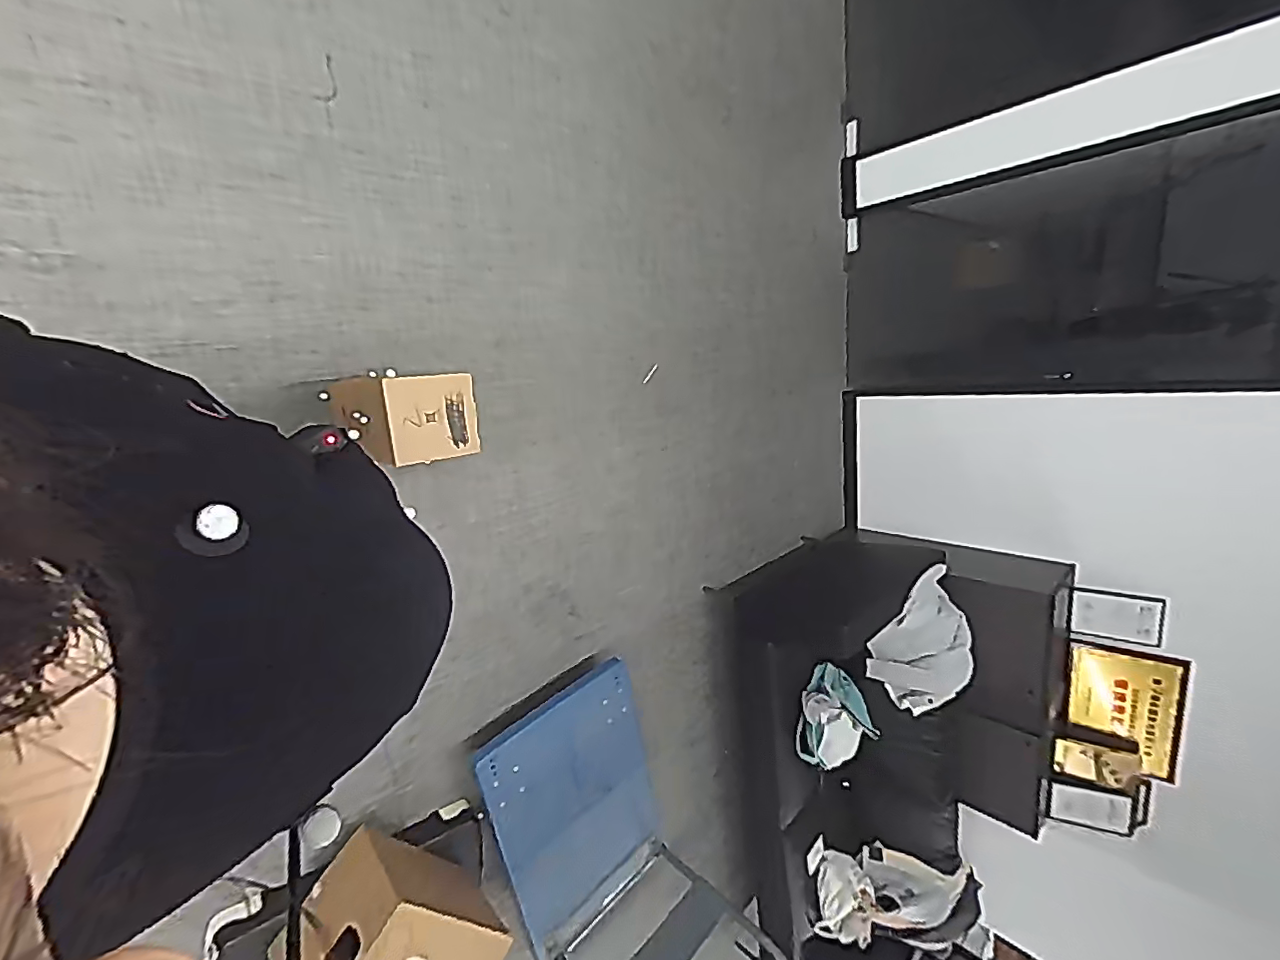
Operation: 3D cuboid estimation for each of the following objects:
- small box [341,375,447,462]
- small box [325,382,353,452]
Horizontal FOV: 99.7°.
[{"bbox_3d":[-0.564,-0.144,1.234,0.168,0.176,0.179,-14,106,-40],"label":"small box"},{"bbox_3d":[-0.671,-0.166,1.357,0.179,0.176,0.168,-15,107,-42],"label":"small box"}]
